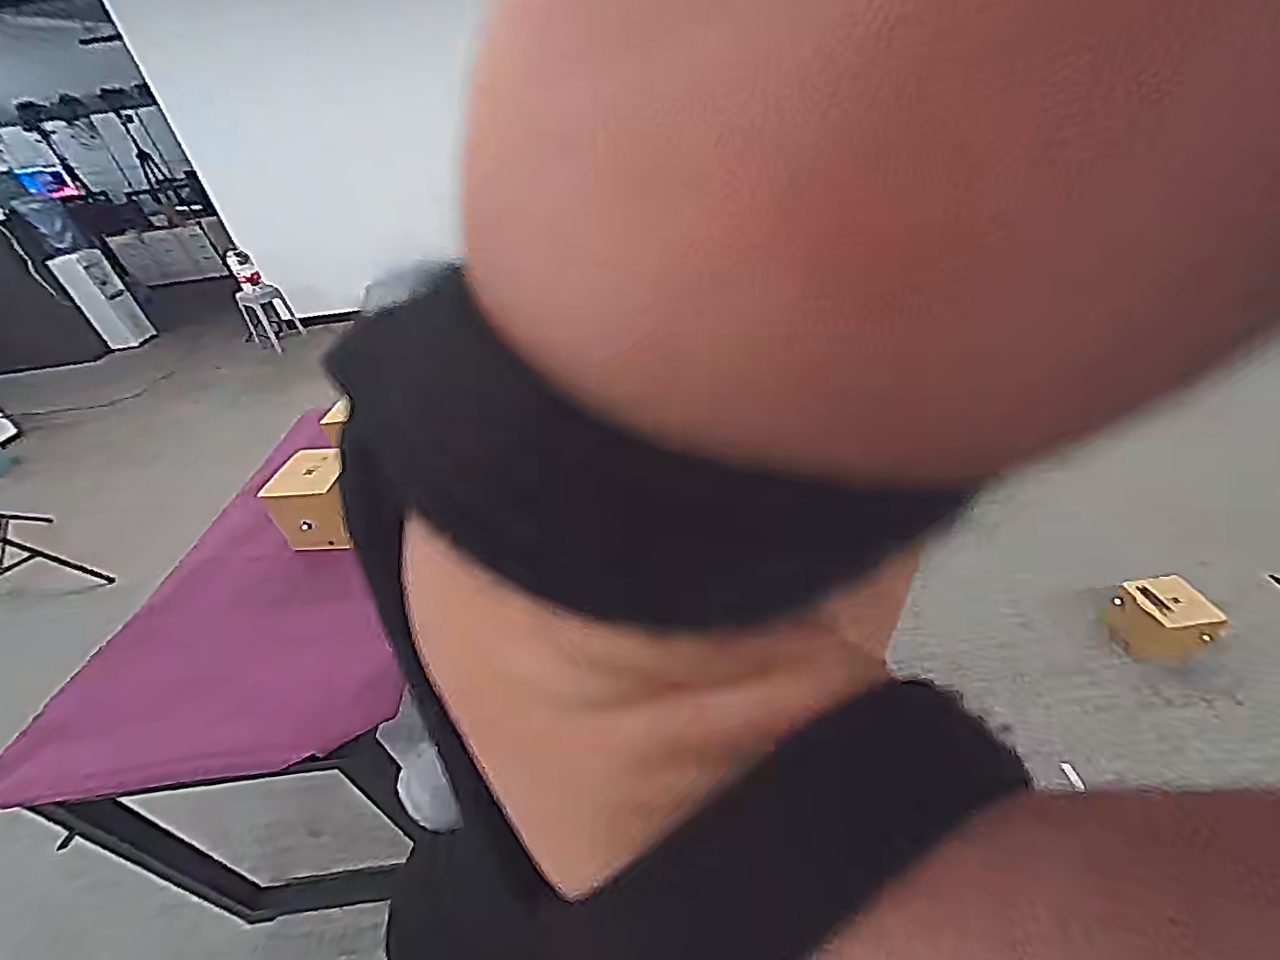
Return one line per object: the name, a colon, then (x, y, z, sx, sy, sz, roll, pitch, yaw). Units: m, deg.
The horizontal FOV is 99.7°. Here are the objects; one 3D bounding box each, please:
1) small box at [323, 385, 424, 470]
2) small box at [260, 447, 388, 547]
small box: (-0.728, -0.140, 1.501, 0.168, 0.176, 0.179, -7, 37, 5)
small box: (-0.723, 0.043, 1.263, 0.168, 0.176, 0.179, -3, 38, 7)
